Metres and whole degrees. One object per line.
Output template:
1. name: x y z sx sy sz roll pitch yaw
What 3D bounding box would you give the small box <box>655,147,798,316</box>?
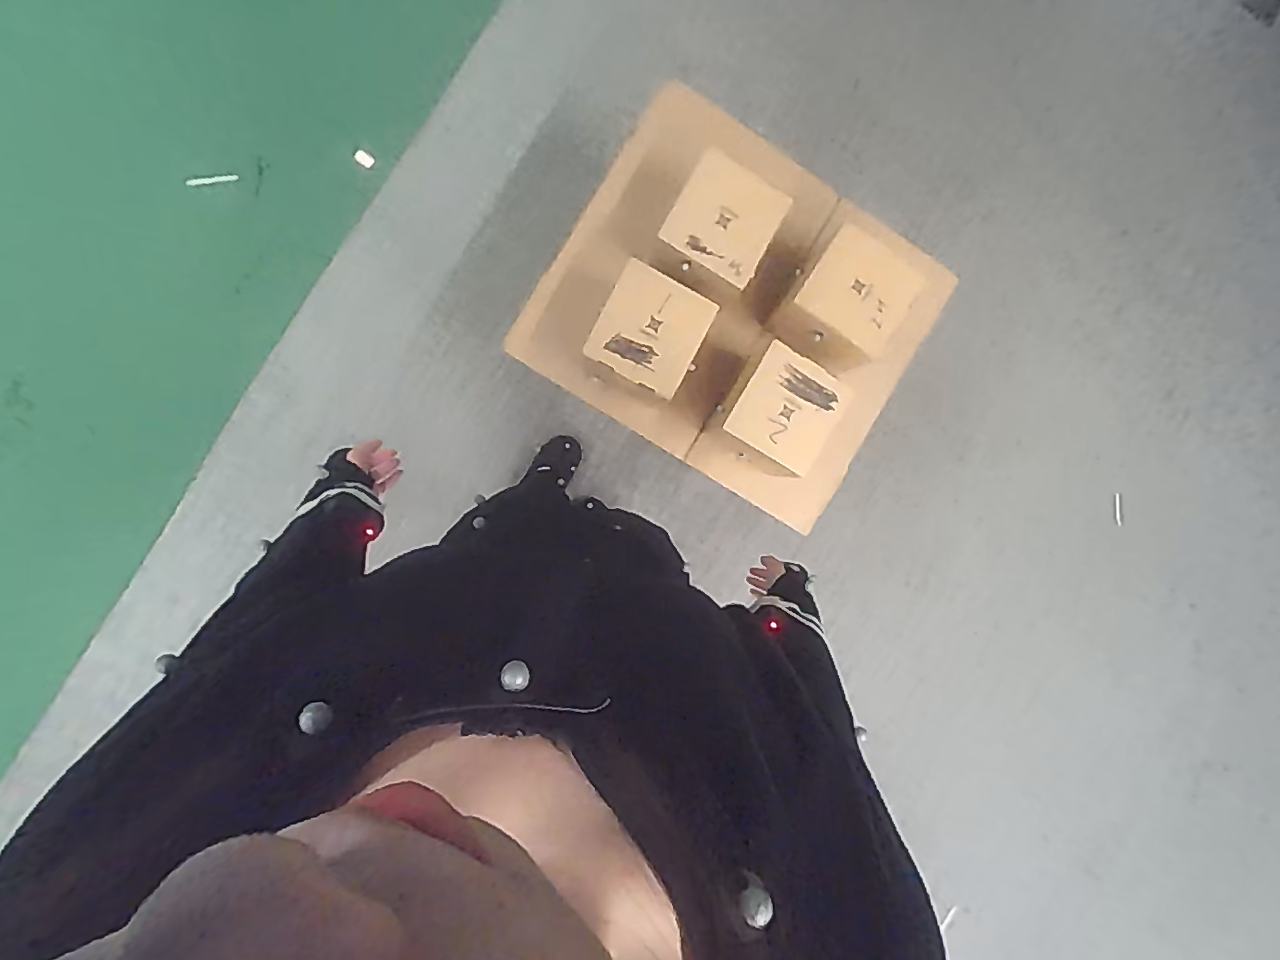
1. small box: 0.138 -0.420 0.946 0.168 0.176 0.179 30 88 -4

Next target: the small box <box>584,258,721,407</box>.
1. small box: 0.016 -0.242 0.942 0.168 0.176 0.179 27 89 -6
